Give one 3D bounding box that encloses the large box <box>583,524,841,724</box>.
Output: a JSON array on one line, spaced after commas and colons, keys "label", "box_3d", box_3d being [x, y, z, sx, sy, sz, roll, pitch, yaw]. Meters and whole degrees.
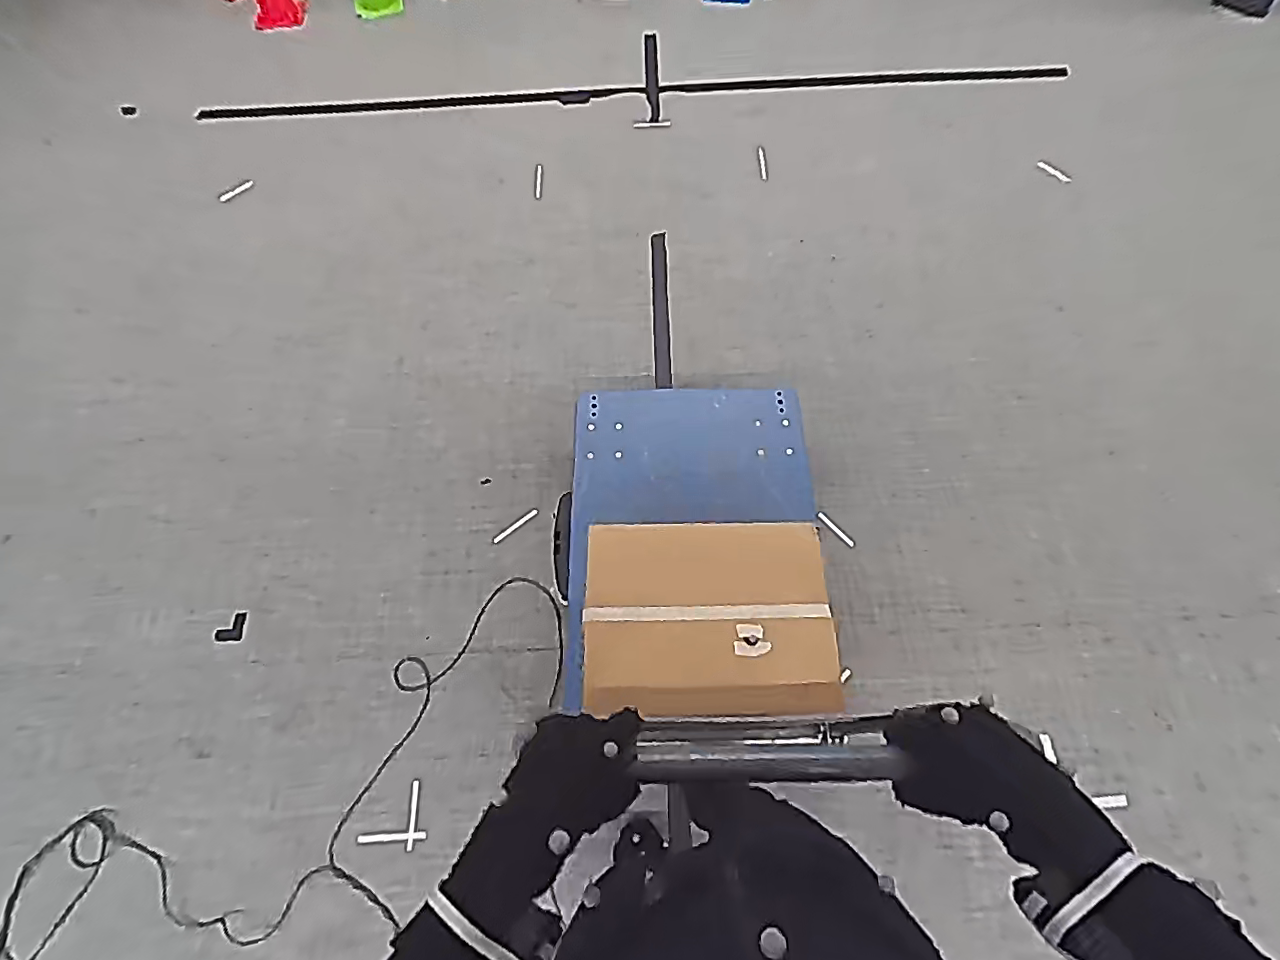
[{"label": "large box", "box_3d": [0.105, 0.283, 1.018, 0.408, 0.320, 0.320, -1, 66, -1]}]
